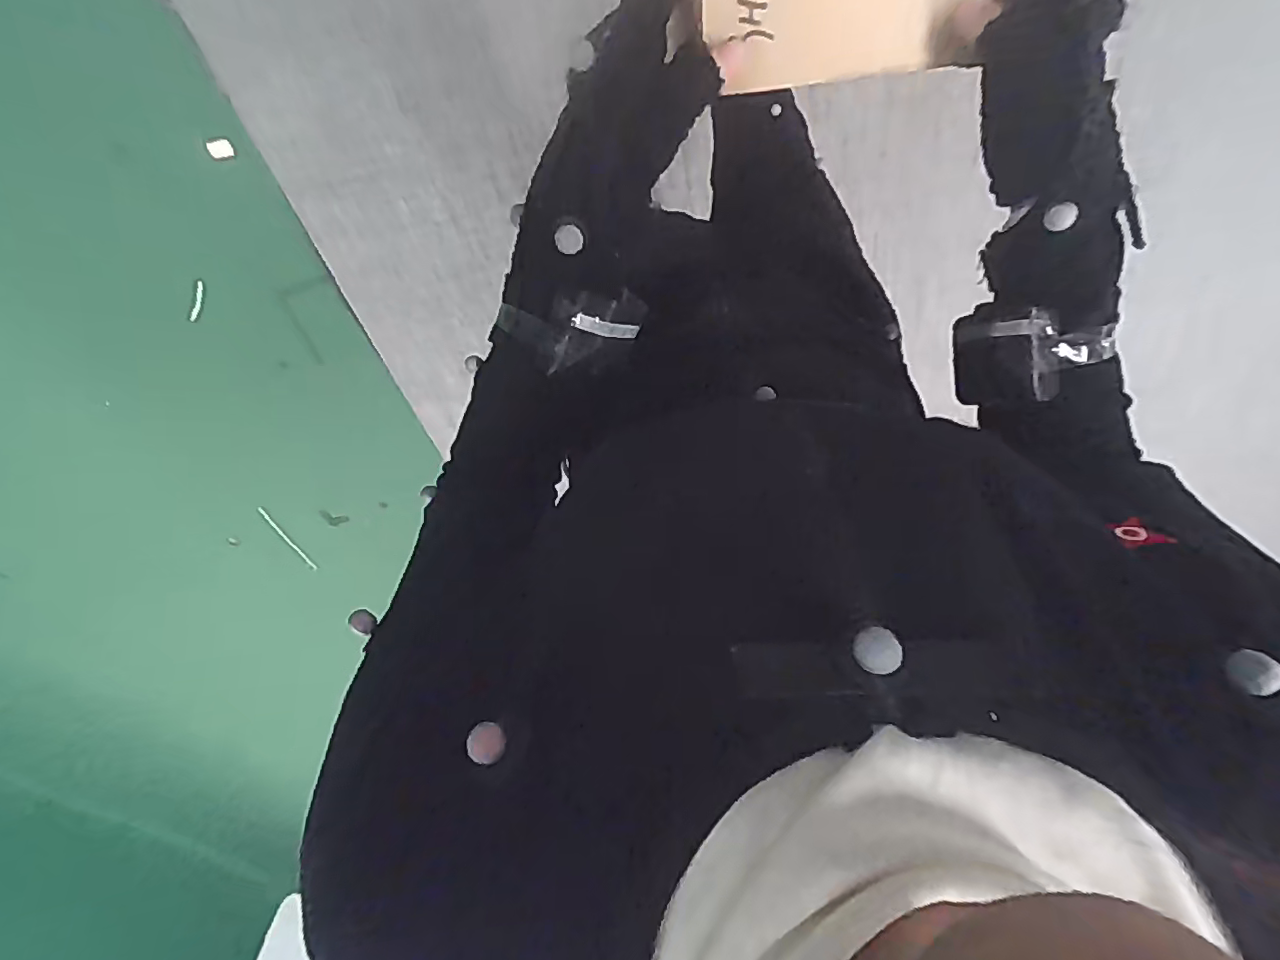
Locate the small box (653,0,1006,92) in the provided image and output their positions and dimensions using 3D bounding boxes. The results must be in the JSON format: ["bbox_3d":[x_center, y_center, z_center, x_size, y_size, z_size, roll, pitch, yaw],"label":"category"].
[{"bbox_3d":[0.103,-0.347,0.316,0.179,0.176,0.168,-8,132,-1],"label":"small box"}]
